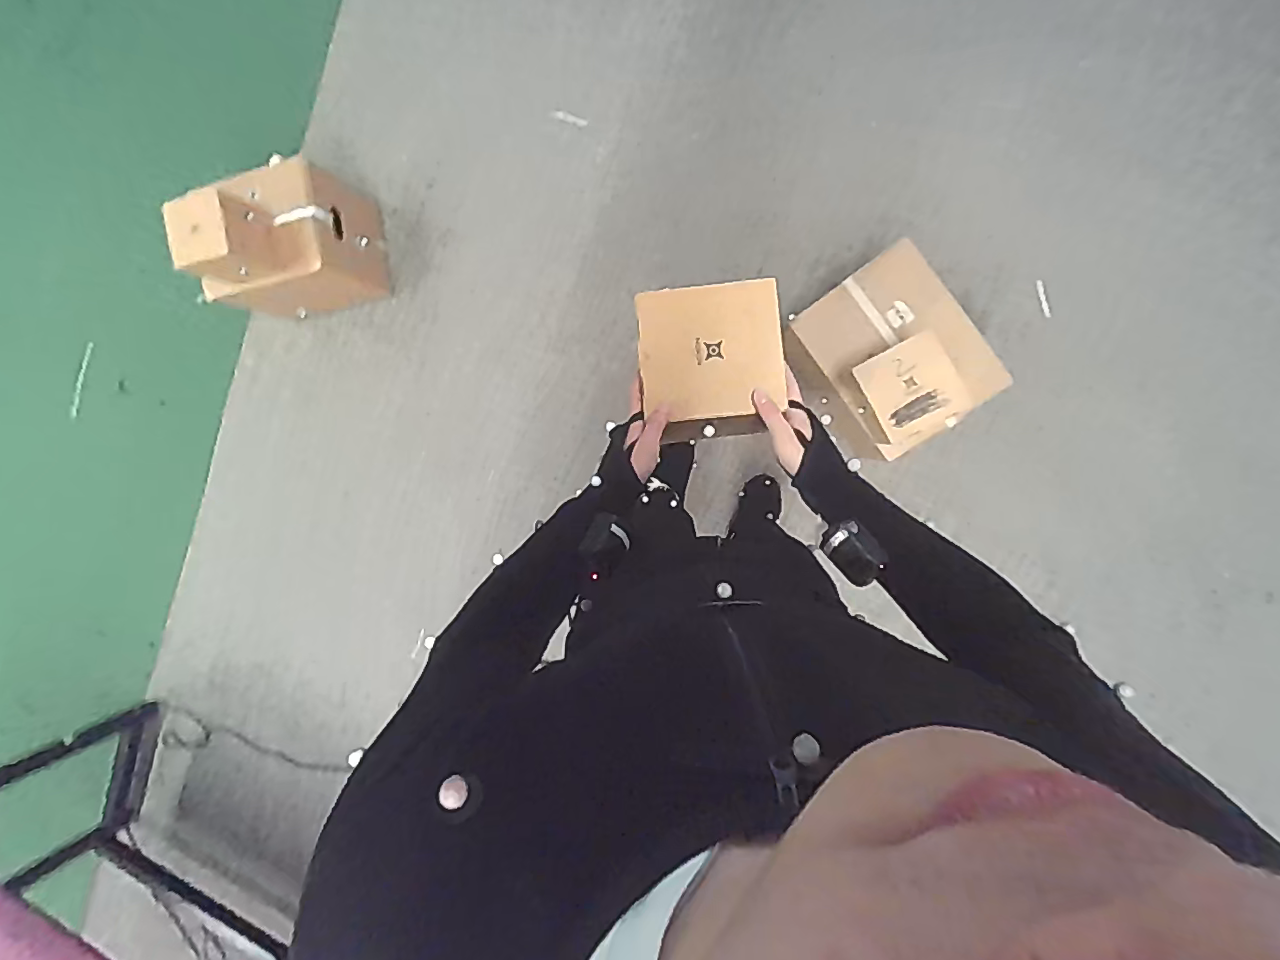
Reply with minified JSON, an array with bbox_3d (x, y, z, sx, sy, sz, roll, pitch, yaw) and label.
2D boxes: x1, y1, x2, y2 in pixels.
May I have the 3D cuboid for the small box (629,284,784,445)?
[{"bbox_3d":[0.085,-0.144,0.733,0.179,0.176,0.168,-6,86,5],"label":"small box"}]

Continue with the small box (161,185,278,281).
[{"bbox_3d":[-1.088,-0.638,1.418,0.179,0.176,0.168,-8,93,13],"label":"small box"}]

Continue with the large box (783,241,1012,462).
[{"bbox_3d":[0.606,-0.293,1.356,0.320,0.320,0.408,-35,86,11],"label":"large box"}]
